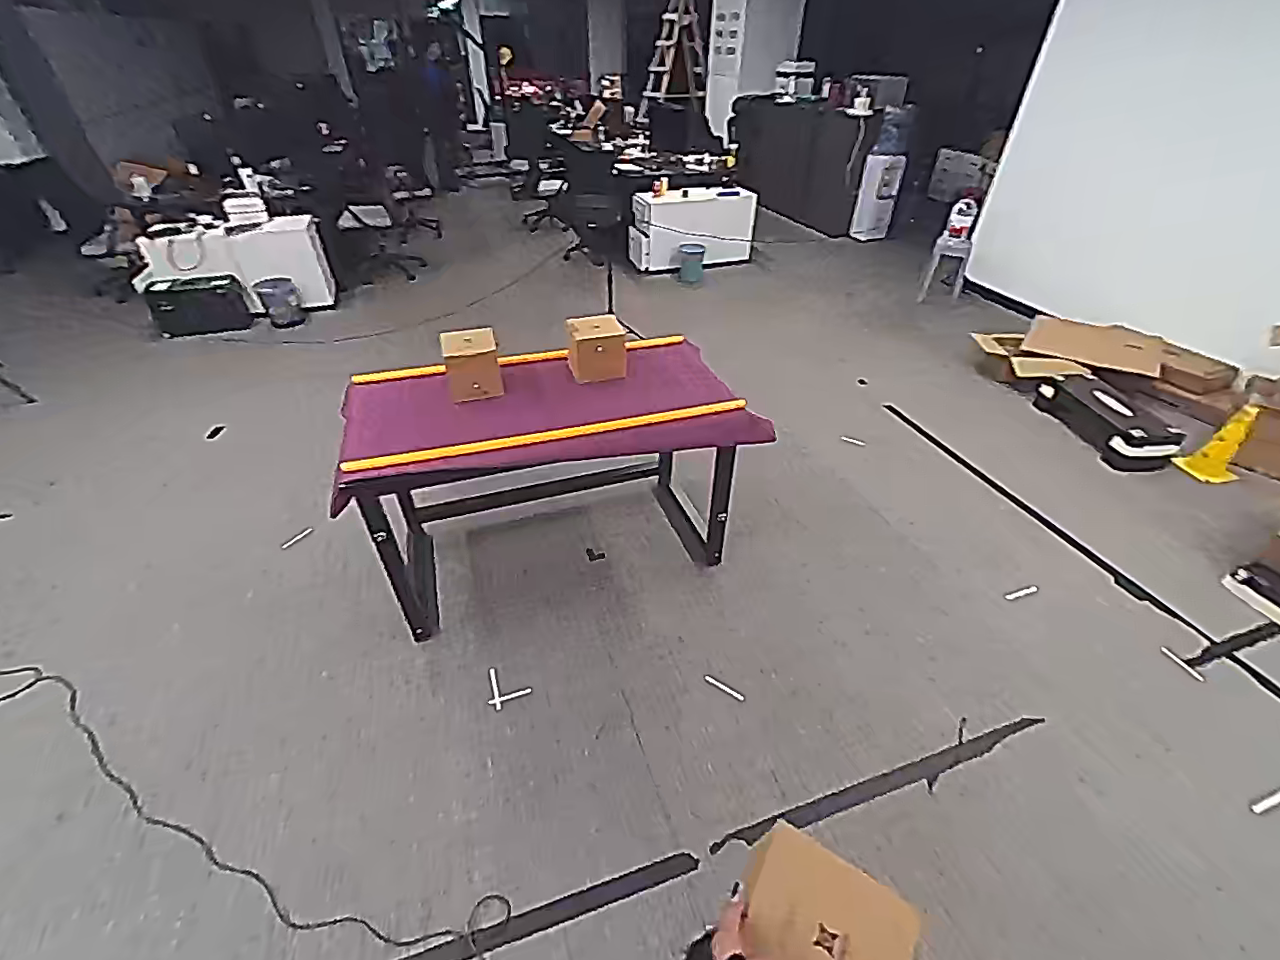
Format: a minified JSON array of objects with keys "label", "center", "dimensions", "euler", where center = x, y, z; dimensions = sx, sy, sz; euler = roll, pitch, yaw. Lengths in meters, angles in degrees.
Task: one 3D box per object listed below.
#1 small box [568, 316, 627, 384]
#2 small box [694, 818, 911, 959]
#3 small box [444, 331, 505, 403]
[{"label":"small box","center":[-0.150,-0.457,1.908],"dimensions":[0.179,0.176,0.168],"euler":[-12,42,-13]},{"label":"small box","center":[0.182,0.544,0.637],"dimensions":[0.179,0.176,0.168],"euler":[25,48,17]},{"label":"small box","center":[-0.552,-0.379,1.805],"dimensions":[0.168,0.176,0.179],"euler":[-11,42,-14]}]
